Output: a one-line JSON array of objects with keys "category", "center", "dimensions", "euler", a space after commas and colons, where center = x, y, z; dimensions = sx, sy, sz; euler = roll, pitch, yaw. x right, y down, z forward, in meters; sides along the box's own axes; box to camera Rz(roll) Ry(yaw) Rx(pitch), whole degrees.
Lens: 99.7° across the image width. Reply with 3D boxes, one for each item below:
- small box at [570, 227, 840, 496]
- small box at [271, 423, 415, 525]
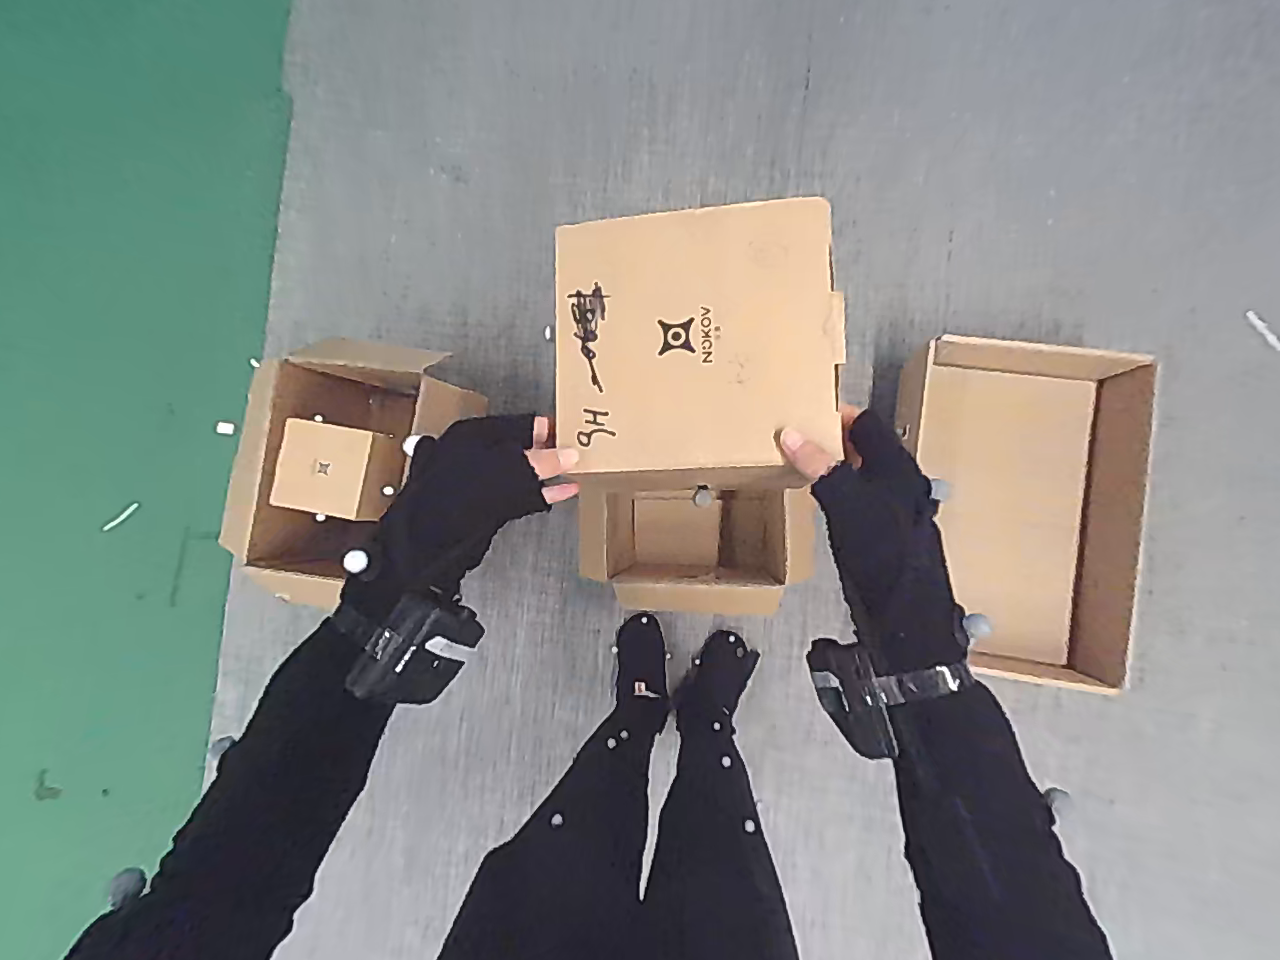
[{"category": "small box", "center": [0.048, -0.076, 0.435], "dimensions": [0.179, 0.176, 0.168], "euler": [-1, 83, 7]}, {"category": "small box", "center": [-0.575, -0.007, 1.071], "dimensions": [0.179, 0.176, 0.168], "euler": [10, 86, 6]}]
